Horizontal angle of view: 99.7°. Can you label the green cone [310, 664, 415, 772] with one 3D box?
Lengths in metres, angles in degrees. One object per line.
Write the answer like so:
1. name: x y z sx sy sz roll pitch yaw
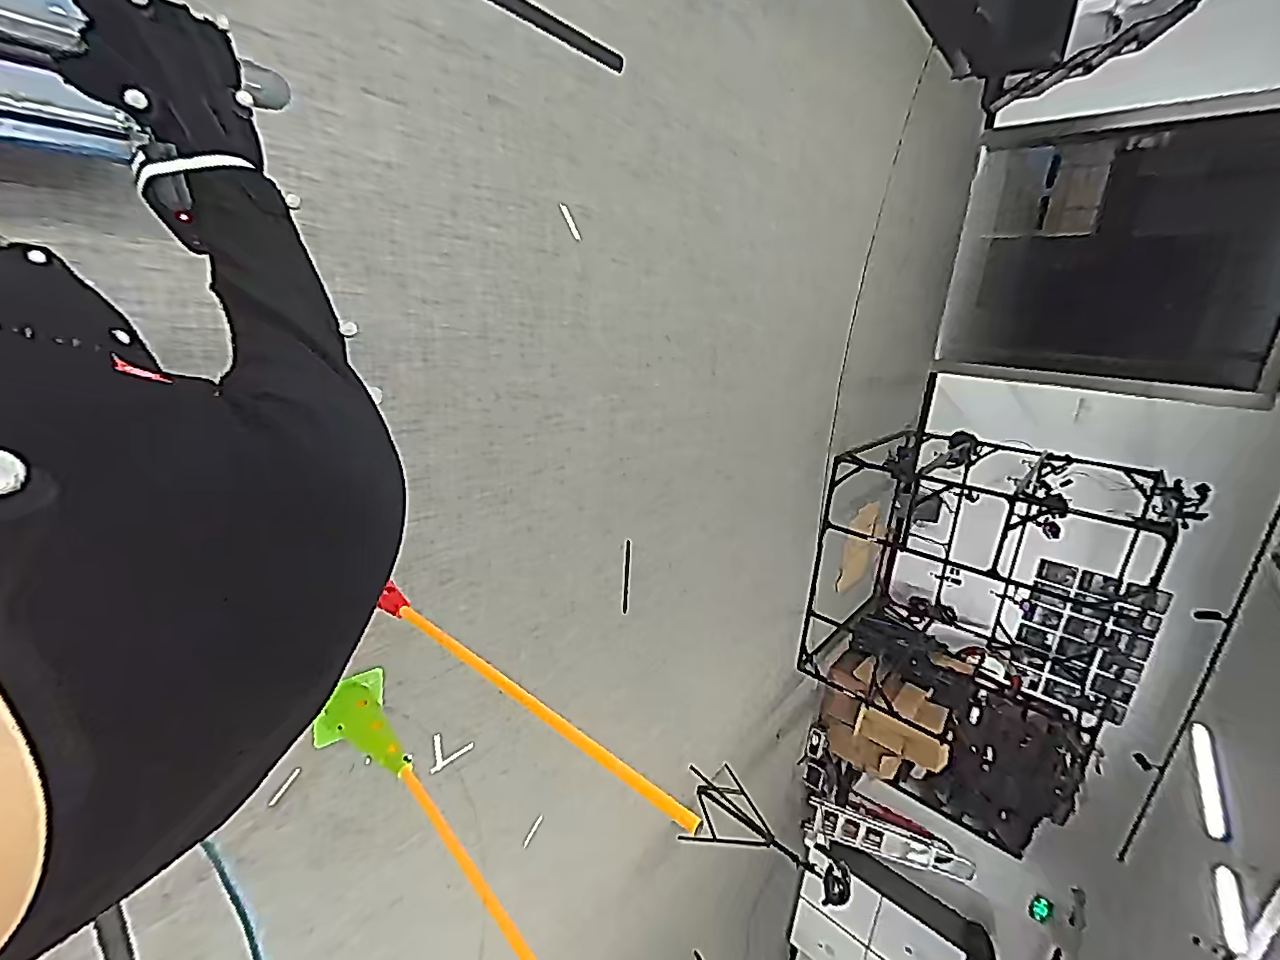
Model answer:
1. green cone: -0.755 0.718 1.535 0.202 0.368 0.200 -11 113 -50
